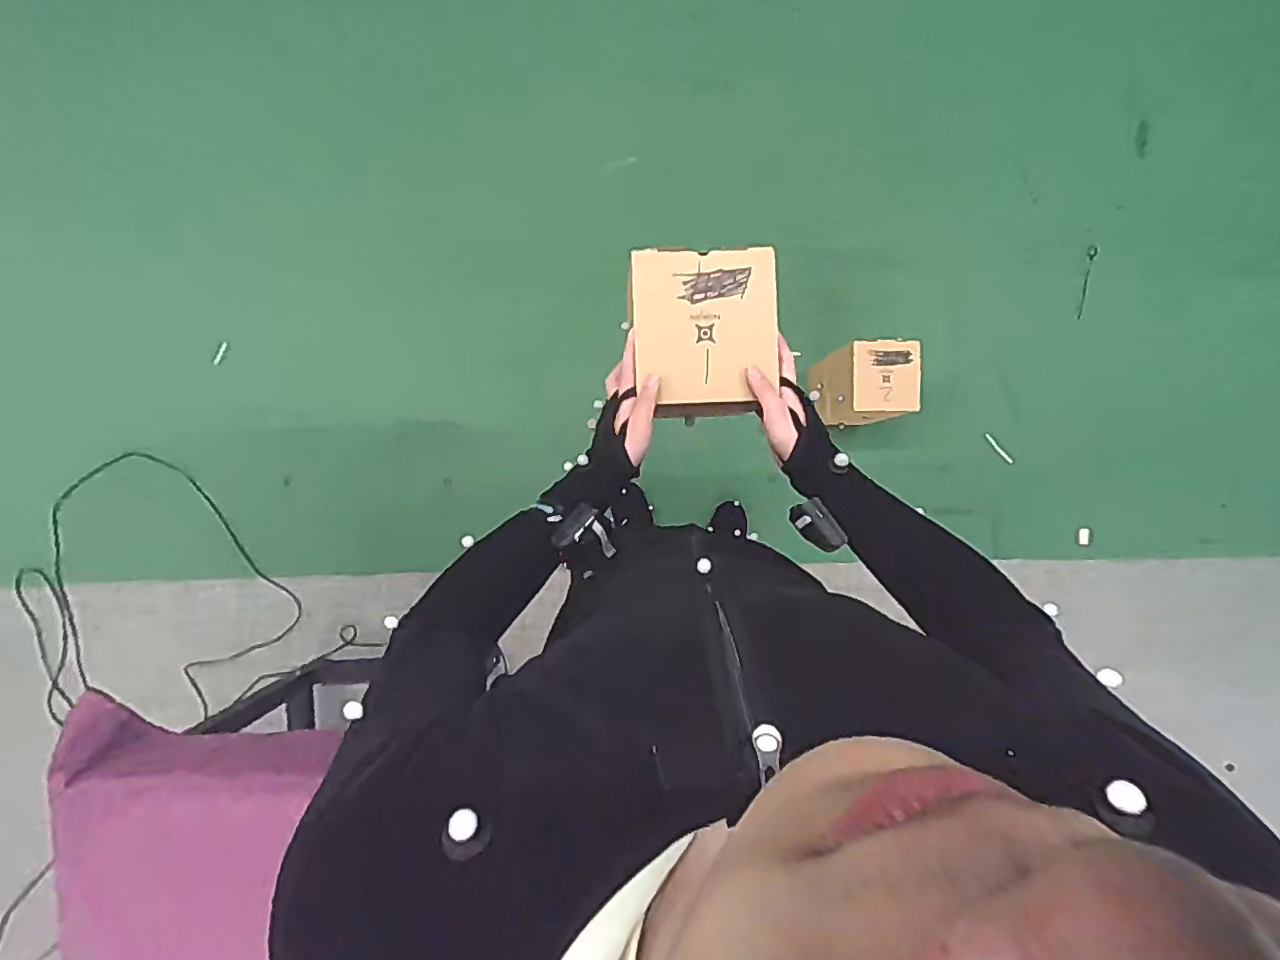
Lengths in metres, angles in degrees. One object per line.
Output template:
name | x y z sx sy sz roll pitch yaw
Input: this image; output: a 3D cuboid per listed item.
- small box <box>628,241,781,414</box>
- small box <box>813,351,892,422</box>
small box | 0.071 -0.180 0.683 0.168 0.176 0.179 -3 92 -2
small box | 0.604 -0.264 1.555 0.168 0.176 0.179 1 91 0
